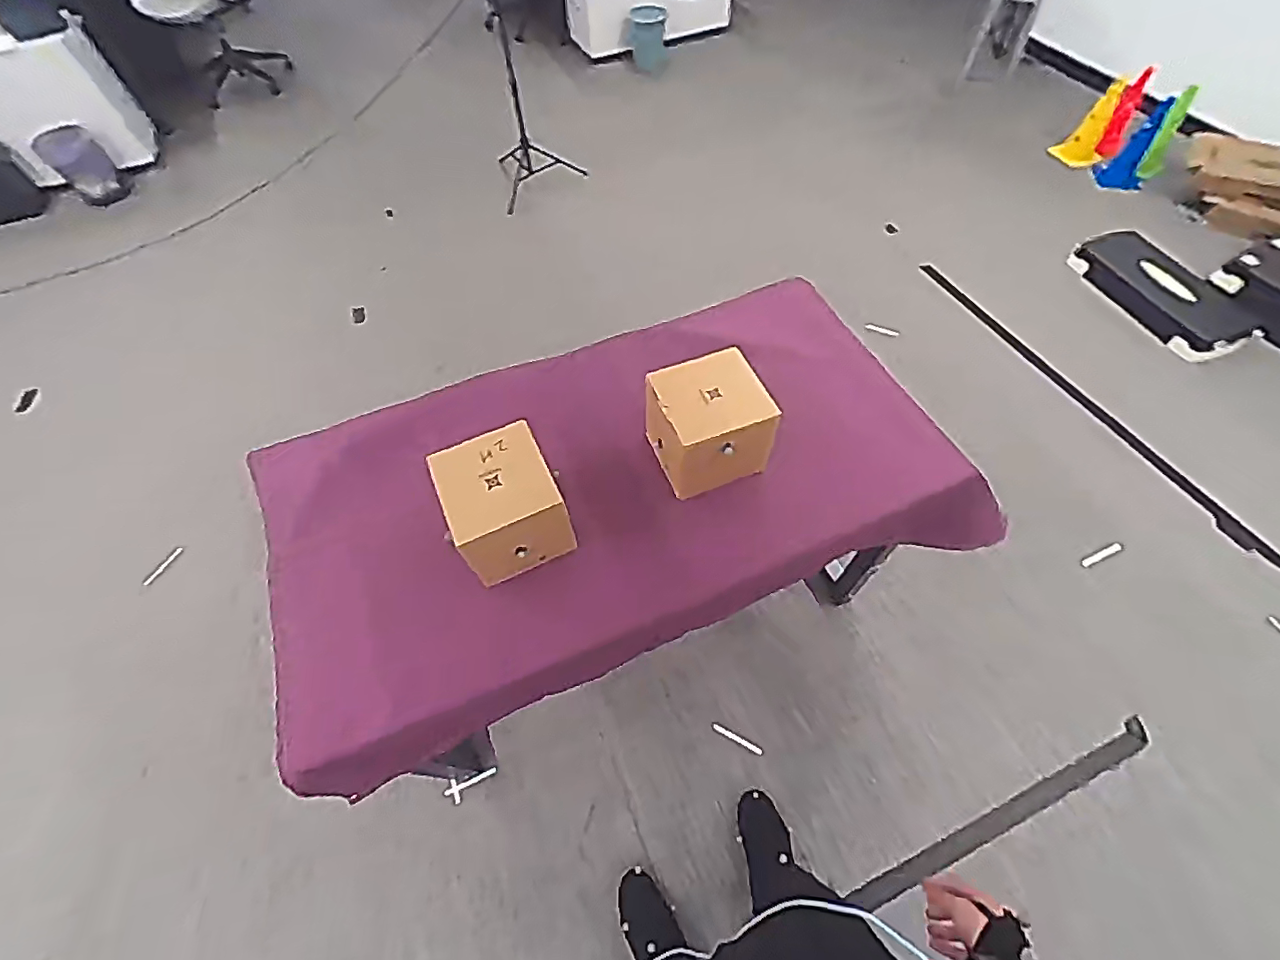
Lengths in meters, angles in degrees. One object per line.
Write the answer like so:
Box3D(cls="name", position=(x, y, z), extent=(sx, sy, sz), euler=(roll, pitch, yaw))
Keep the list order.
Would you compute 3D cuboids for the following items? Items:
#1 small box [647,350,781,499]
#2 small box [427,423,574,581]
Box3D(cls="small box", position=(0.121, -0.094, 0.955), extent=(0.179, 0.176, 0.168), euler=(-20, 60, -9))
Box3D(cls="small box", position=(-0.219, 0.045, 0.880), extent=(0.168, 0.176, 0.179), euler=(-23, 60, -12))
